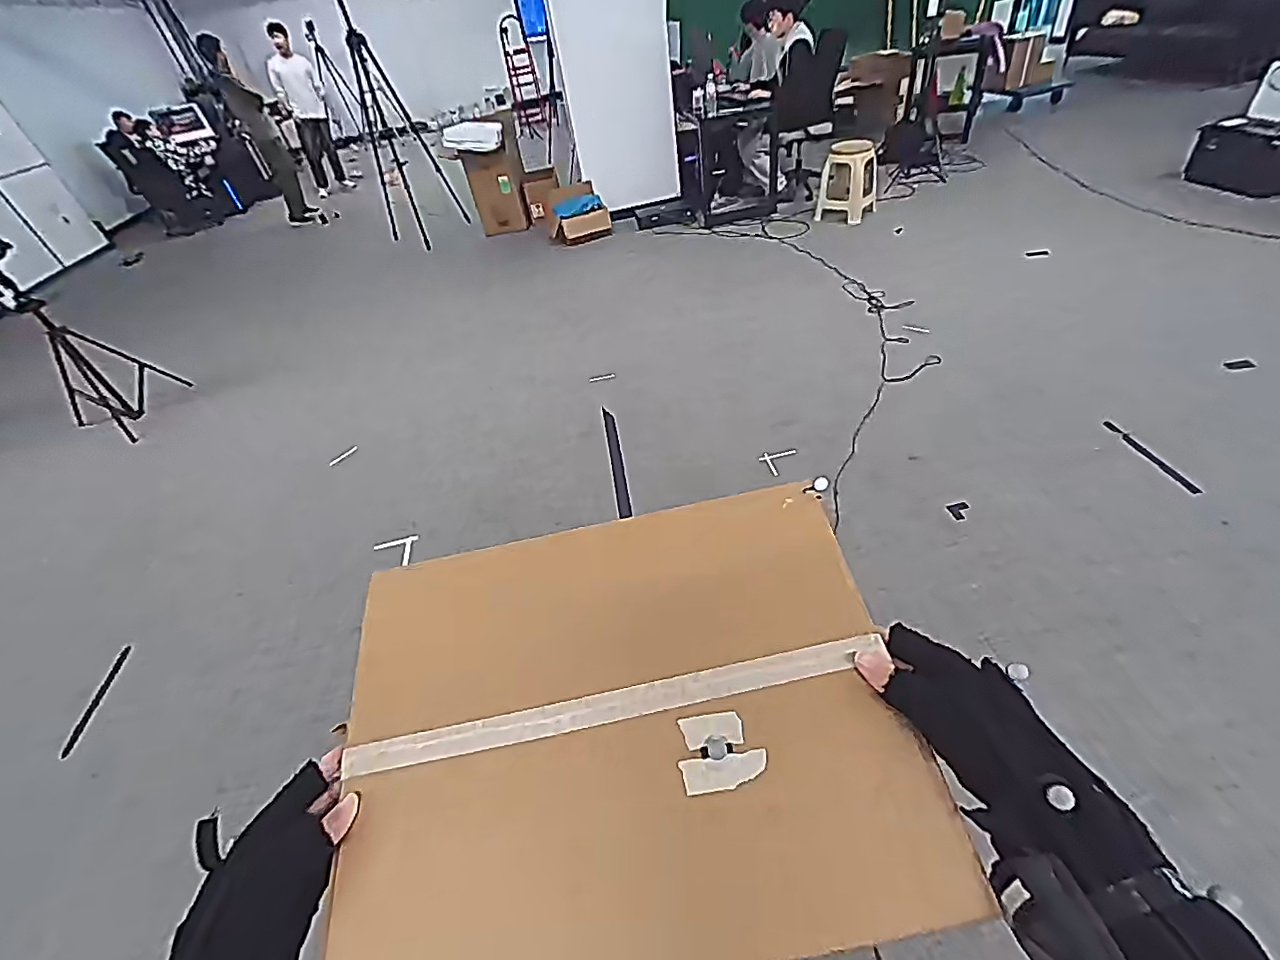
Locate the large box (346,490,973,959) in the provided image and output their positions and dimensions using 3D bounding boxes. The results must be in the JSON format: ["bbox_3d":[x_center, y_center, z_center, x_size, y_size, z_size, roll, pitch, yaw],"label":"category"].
[{"bbox_3d":[0.001,0.257,0.532,0.408,0.320,0.320,-12,55,-1],"label":"large box"}]
